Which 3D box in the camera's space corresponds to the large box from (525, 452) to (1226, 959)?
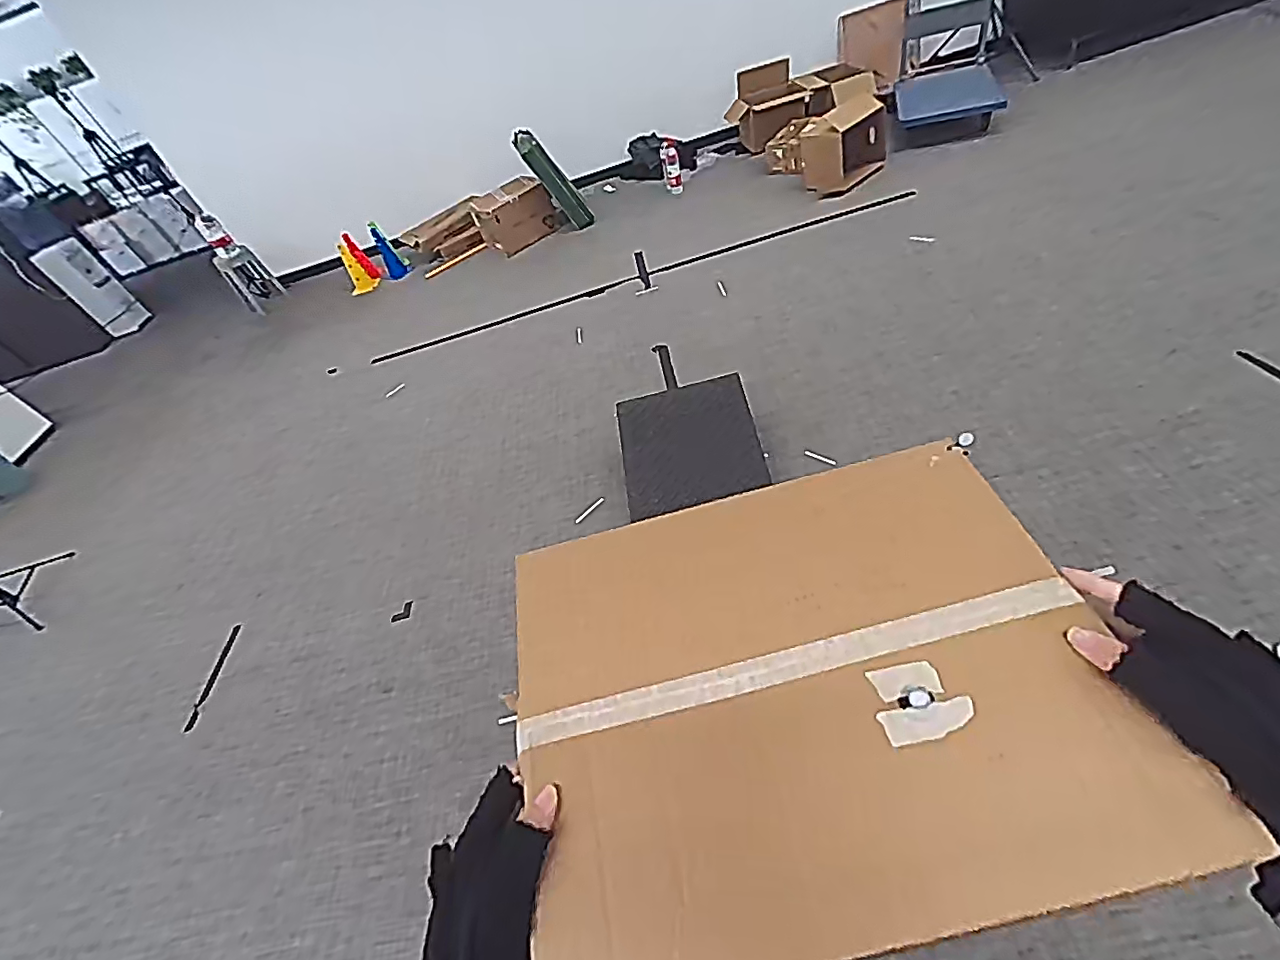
[{"bbox_3d":[0.139,0.232,0.514,0.408,0.320,0.320,-16,50,1],"label":"large box"}]
